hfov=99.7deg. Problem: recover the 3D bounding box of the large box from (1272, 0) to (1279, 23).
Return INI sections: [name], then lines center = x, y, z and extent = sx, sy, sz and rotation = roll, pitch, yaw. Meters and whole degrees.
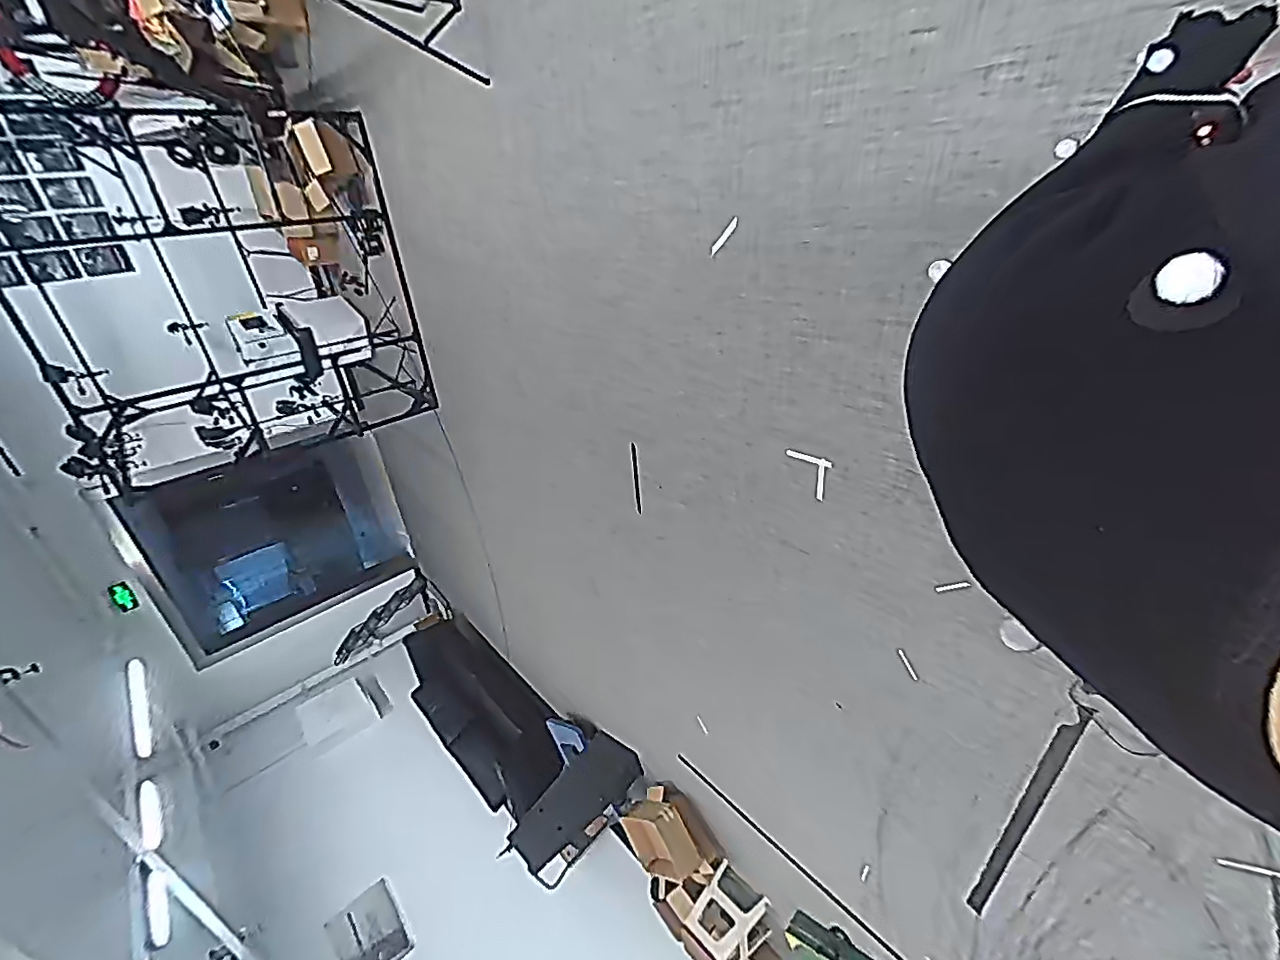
[large box]
center = 1.048, -0.710, 0.570
extent = 0.408, 0.320, 0.320
rotation = 29, 132, 40
